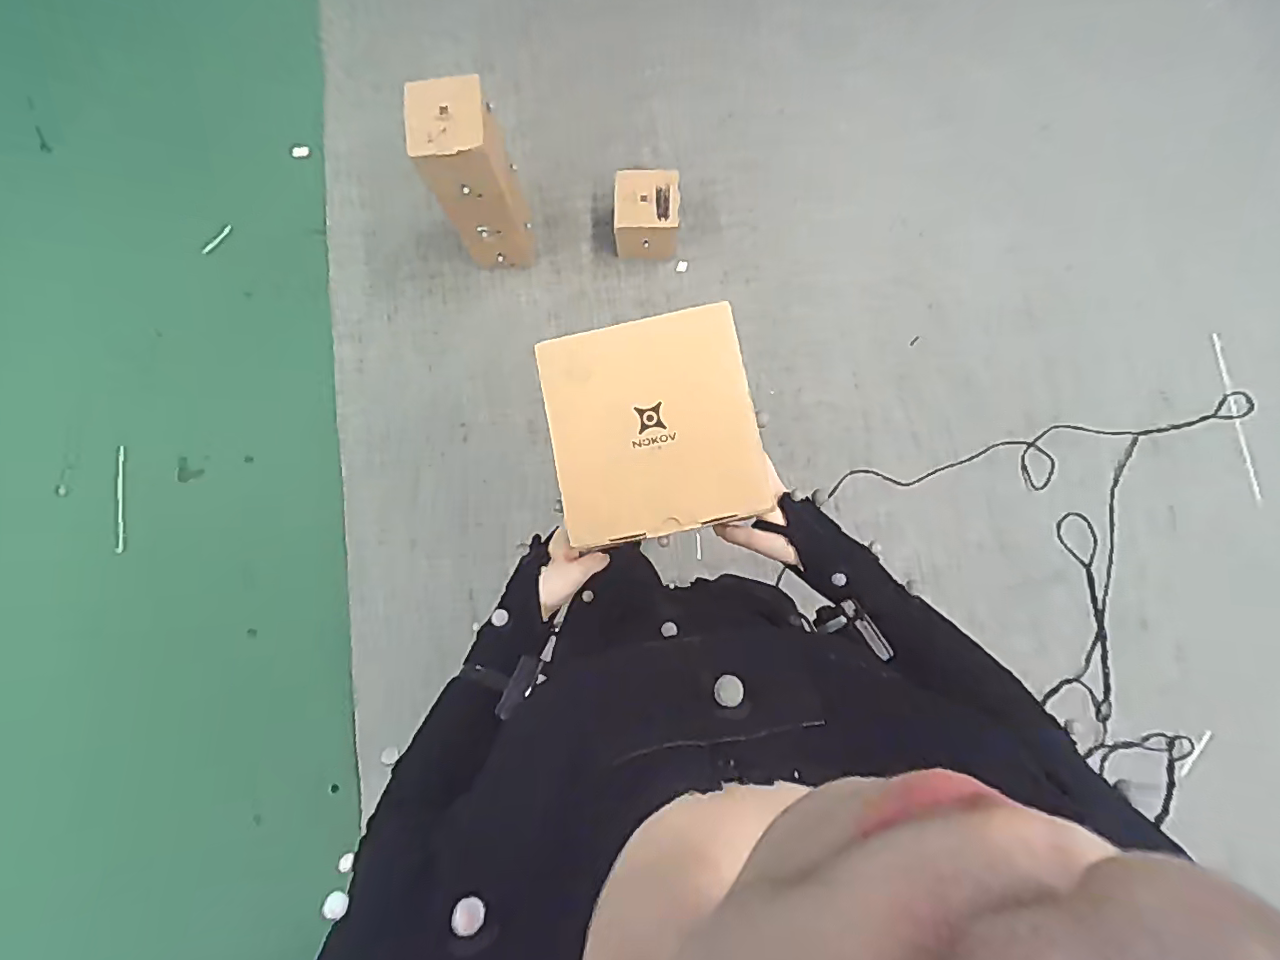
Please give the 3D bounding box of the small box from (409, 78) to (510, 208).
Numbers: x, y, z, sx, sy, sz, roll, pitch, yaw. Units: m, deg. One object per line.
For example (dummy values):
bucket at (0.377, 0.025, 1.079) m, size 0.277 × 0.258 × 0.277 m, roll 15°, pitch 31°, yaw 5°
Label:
small box at (-0.399, -0.748, 1.214) m, size 0.168 × 0.176 × 0.179 m, roll -6°, pitch 83°, yaw 3°

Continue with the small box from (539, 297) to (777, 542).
small box at (0.016, -0.040, 0.506) m, size 0.168 × 0.176 × 0.179 m, roll -11°, pitch 84°, yaw 3°

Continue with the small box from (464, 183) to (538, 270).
small box at (-0.390, -0.714, 1.539) m, size 0.168 × 0.176 × 0.179 m, roll -3°, pitch 84°, yaw 2°

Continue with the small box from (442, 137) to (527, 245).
small box at (-0.394, -0.732, 1.378) m, size 0.168 × 0.176 × 0.179 m, roll -6°, pitch 84°, yaw 3°
